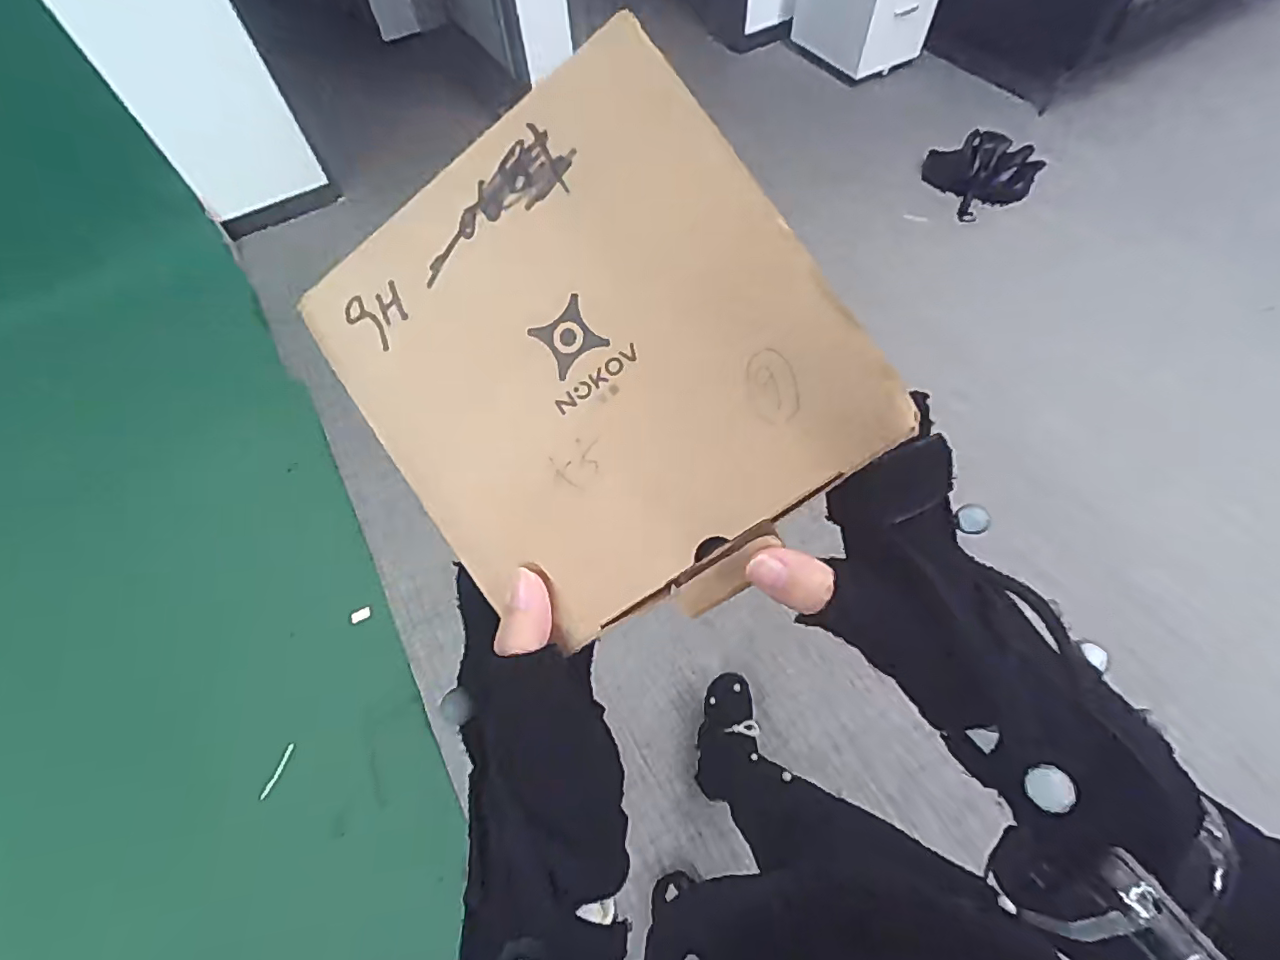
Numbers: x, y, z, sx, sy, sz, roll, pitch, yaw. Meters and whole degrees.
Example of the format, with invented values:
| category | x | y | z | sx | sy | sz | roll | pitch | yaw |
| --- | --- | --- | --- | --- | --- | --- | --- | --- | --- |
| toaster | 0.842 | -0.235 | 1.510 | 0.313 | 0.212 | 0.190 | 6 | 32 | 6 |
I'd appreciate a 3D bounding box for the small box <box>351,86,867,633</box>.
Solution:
| category | x | y | z | sx | sy | sz | roll | pitch | yaw |
| --- | --- | --- | --- | --- | --- | --- | --- | --- | --- |
| small box | -0.006 | -0.052 | 0.308 | 0.168 | 0.176 | 0.179 | -37 | 87 | 12 |
